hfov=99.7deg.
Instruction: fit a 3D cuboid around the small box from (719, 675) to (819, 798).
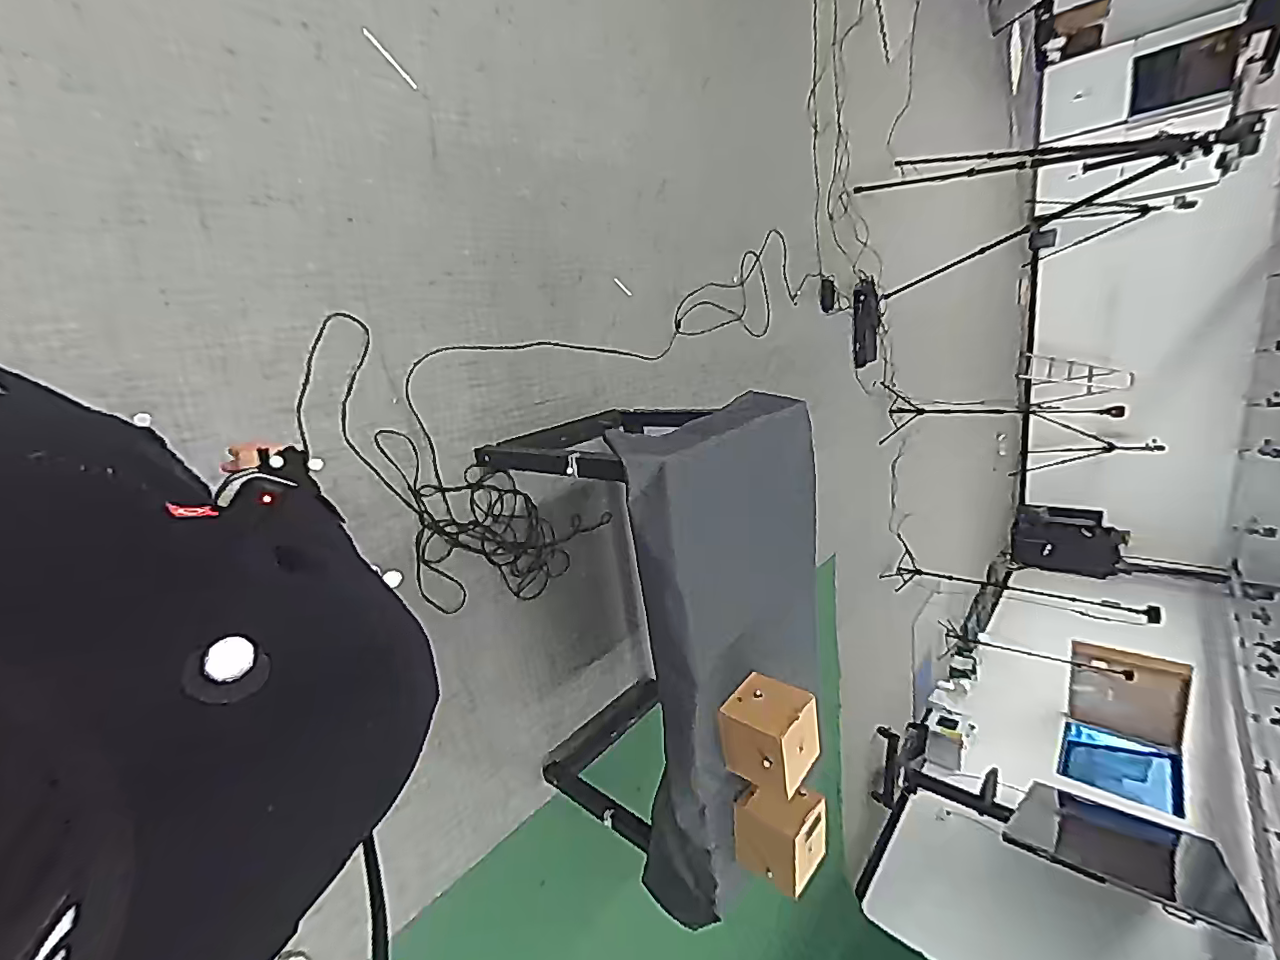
[{"bbox_3d":[0.307,0.601,1.291,0.168,0.176,0.179,-27,113,-43],"label":"small box"}]
